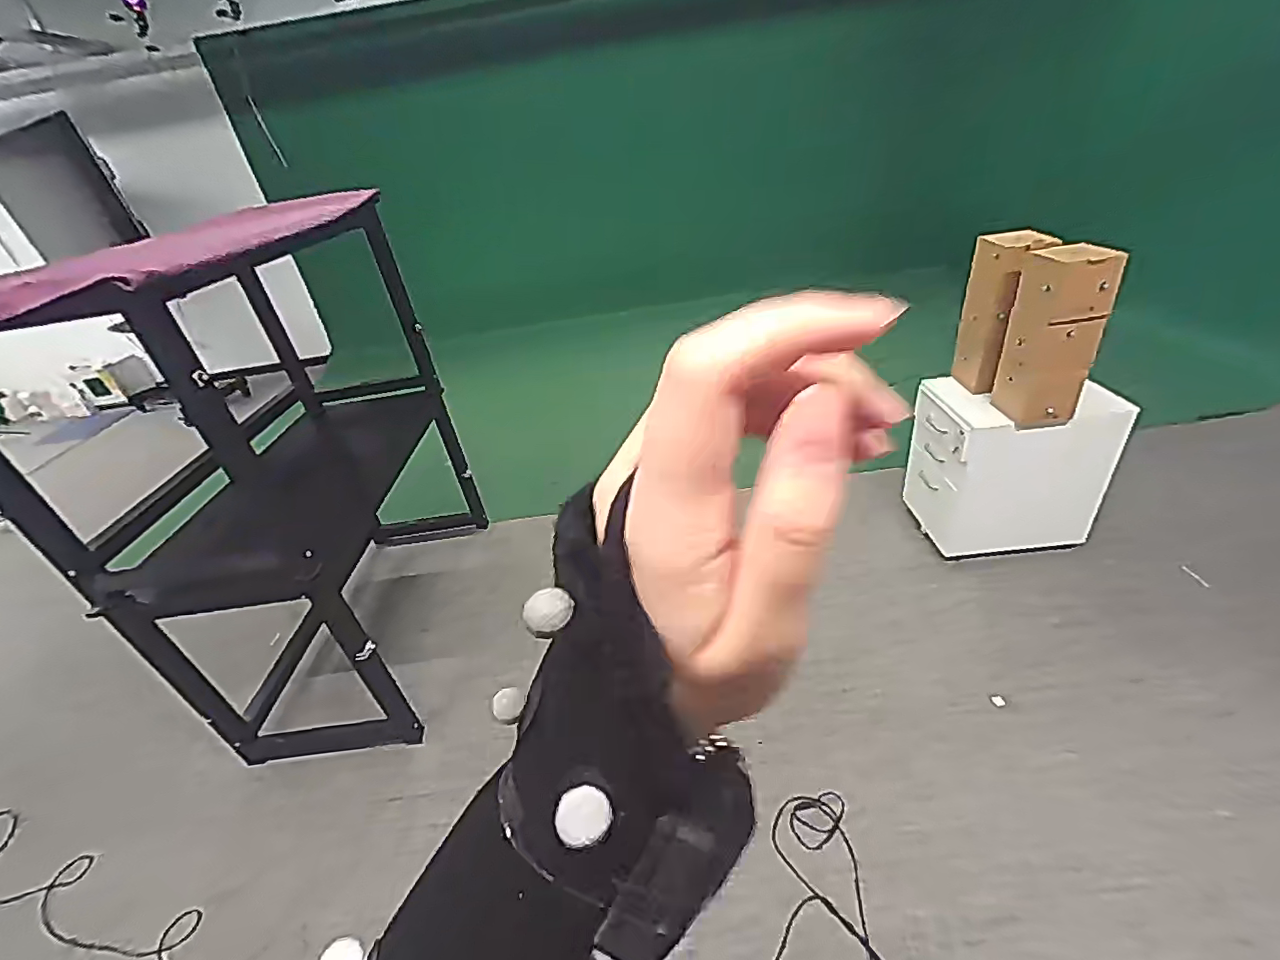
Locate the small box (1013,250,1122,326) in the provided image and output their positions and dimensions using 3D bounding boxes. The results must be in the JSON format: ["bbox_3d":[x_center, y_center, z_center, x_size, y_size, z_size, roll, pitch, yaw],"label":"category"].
[{"bbox_3d":[1.228,-0.552,1.567,0.168,0.176,0.179,-7,31,3],"label":"small box"}]

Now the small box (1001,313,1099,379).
[{"bbox_3d":[1.247,-0.421,1.662,0.179,0.176,0.168,-8,33,2],"label":"small box"}]

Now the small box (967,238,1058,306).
[{"bbox_3d":[1.209,-0.683,1.773,0.168,0.176,0.179,-6,34,4],"label":"small box"}]

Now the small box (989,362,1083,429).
[{"bbox_3d":[1.266,-0.279,1.745,0.168,0.176,0.179,-6,33,4],"label":"small box"}]

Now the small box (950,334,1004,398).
[{"bbox_3d":[1.250,-0.413,1.952,0.168,0.176,0.179,-7,34,4],"label":"small box"}]
